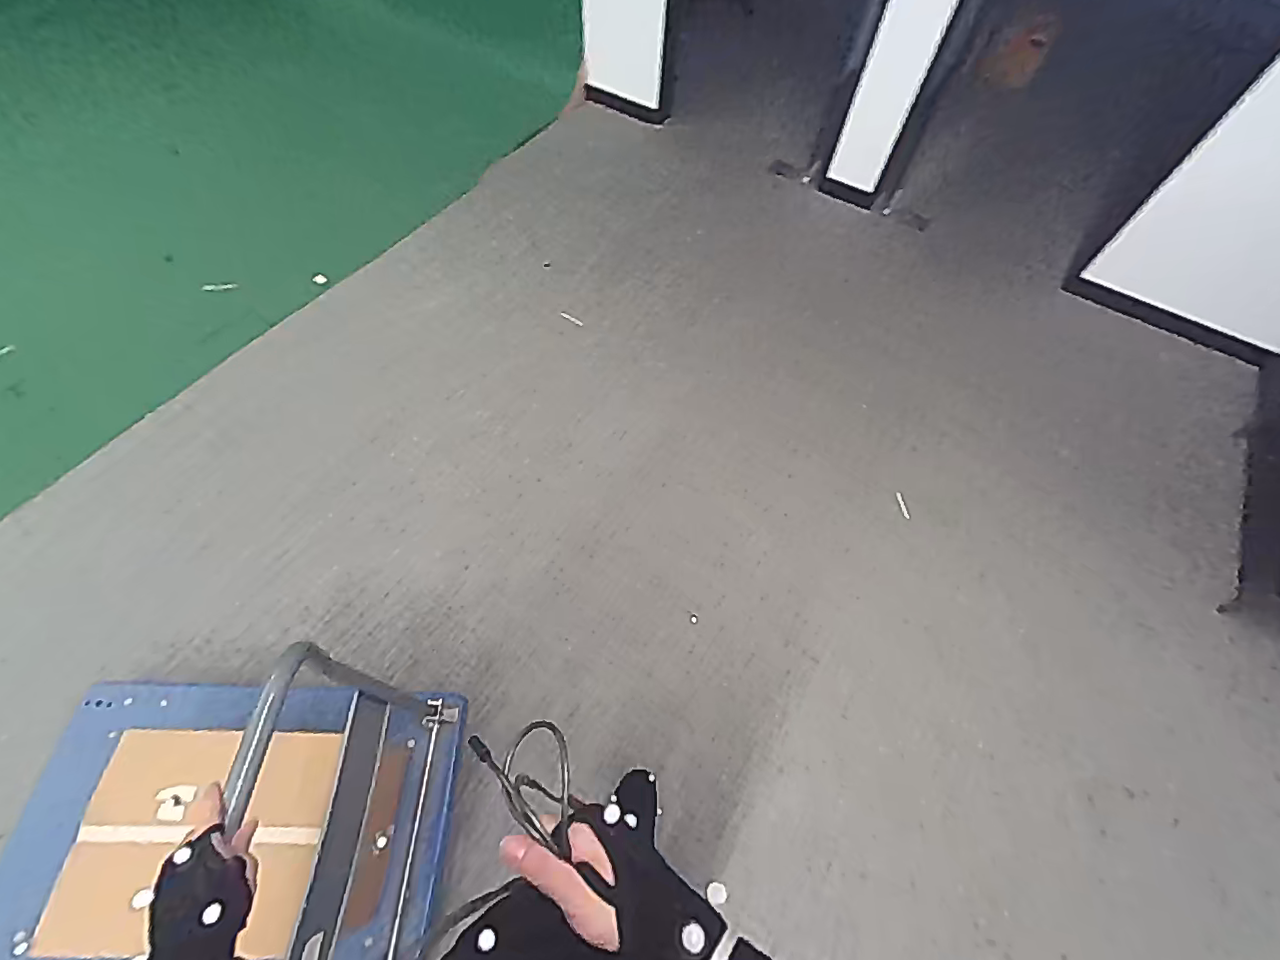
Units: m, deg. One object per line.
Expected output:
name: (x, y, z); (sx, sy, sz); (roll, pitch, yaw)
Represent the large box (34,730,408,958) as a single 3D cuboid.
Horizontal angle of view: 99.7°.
large box: (-0.712, 0.653, 1.015); (0.408, 0.320, 0.320); (2, 60, -1)
